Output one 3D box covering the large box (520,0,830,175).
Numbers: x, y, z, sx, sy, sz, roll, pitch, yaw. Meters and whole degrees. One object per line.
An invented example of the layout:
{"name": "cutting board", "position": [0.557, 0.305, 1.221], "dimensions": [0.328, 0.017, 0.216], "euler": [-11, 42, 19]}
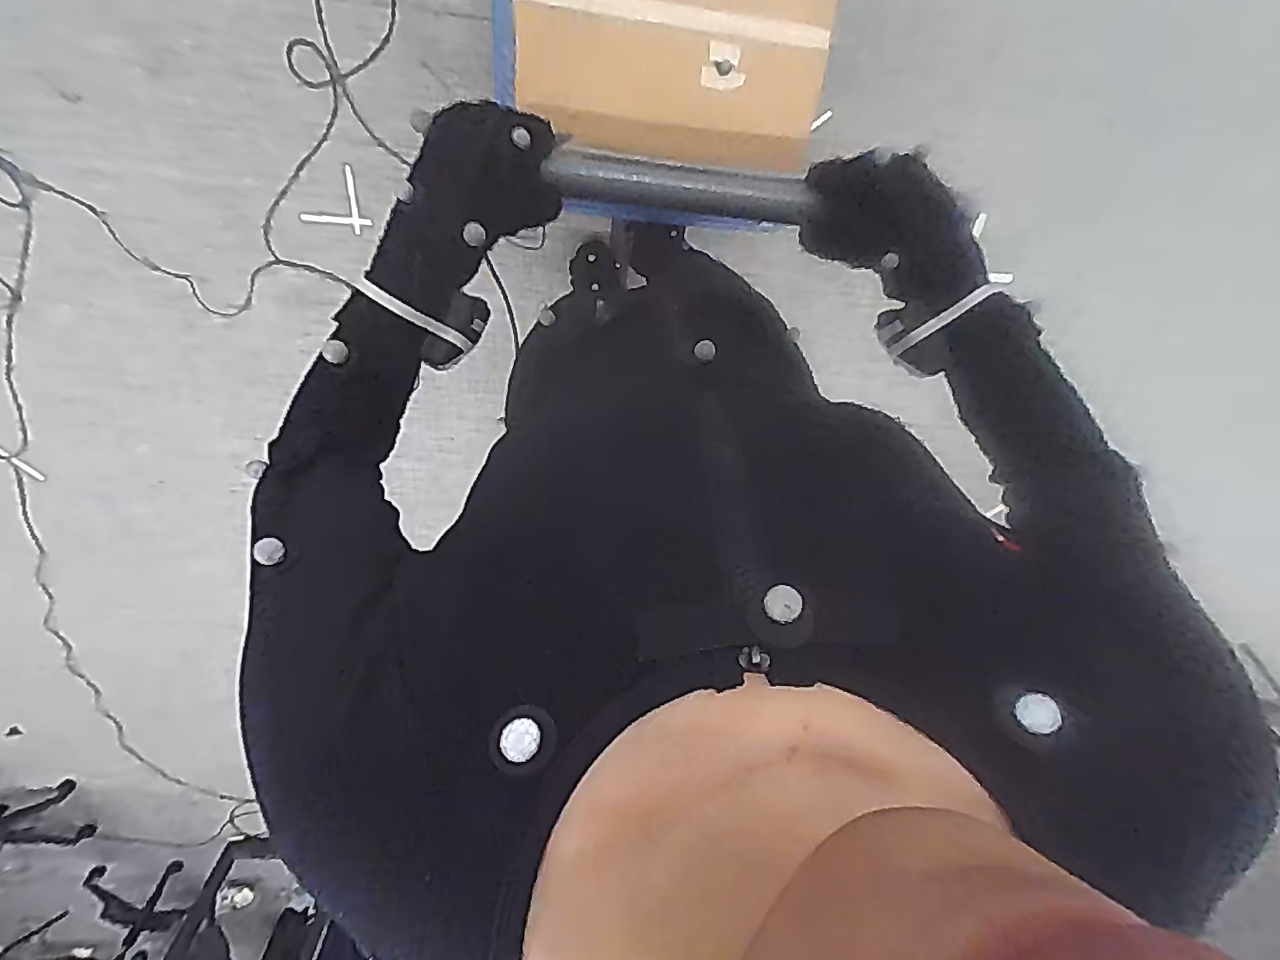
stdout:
{"name": "large box", "position": [0.032, -0.669, 0.827], "dimensions": [0.408, 0.320, 0.320], "euler": [3, 118, -8]}
